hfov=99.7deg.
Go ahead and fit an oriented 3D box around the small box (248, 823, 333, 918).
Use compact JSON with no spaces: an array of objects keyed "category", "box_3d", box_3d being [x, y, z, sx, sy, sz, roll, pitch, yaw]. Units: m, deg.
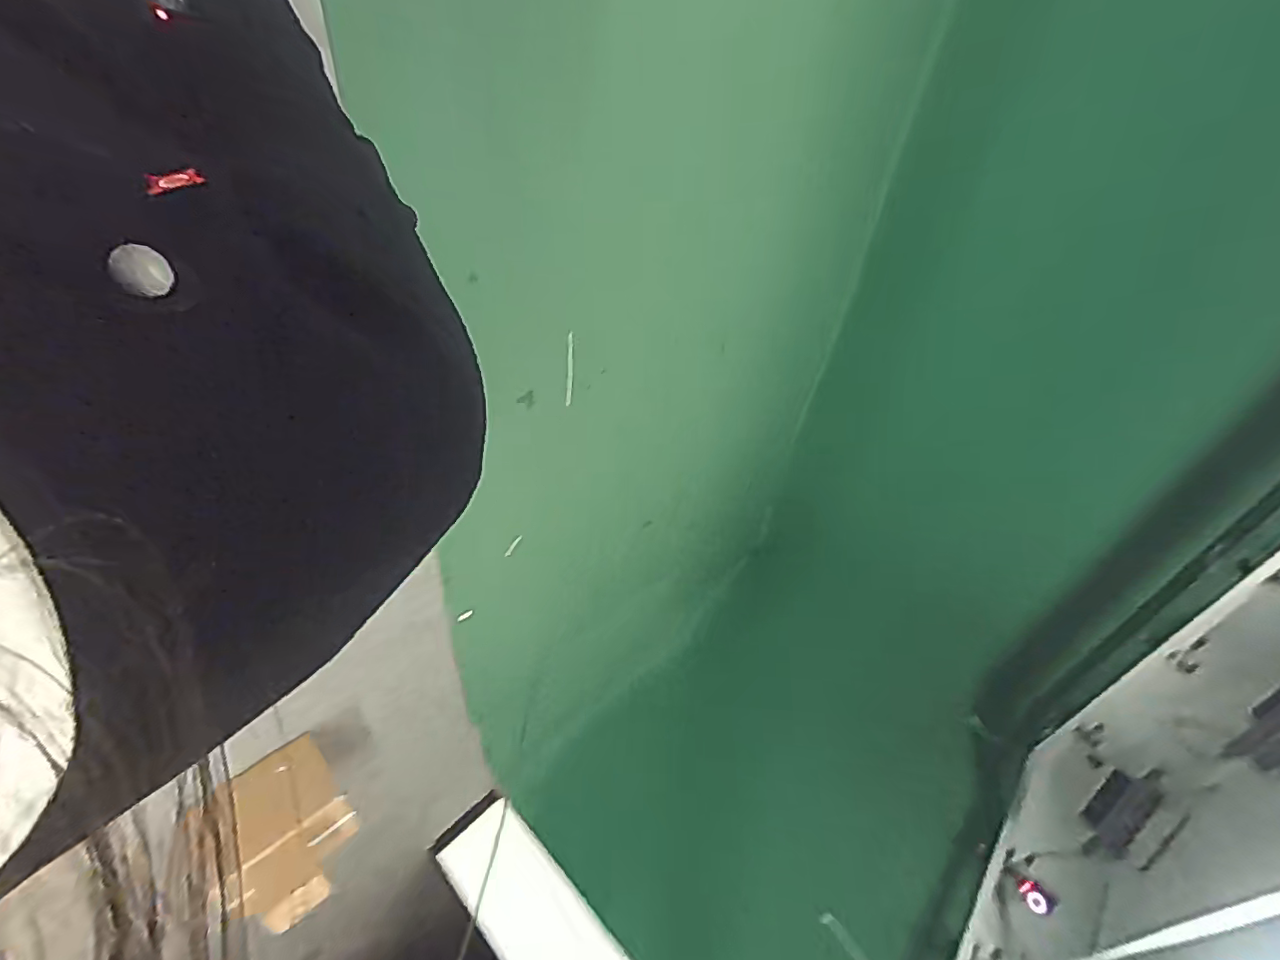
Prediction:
[{"category":"small box","box_3d":[-1.153,1.279,1.783,0.168,0.176,0.179,-30,141,-39]}]
